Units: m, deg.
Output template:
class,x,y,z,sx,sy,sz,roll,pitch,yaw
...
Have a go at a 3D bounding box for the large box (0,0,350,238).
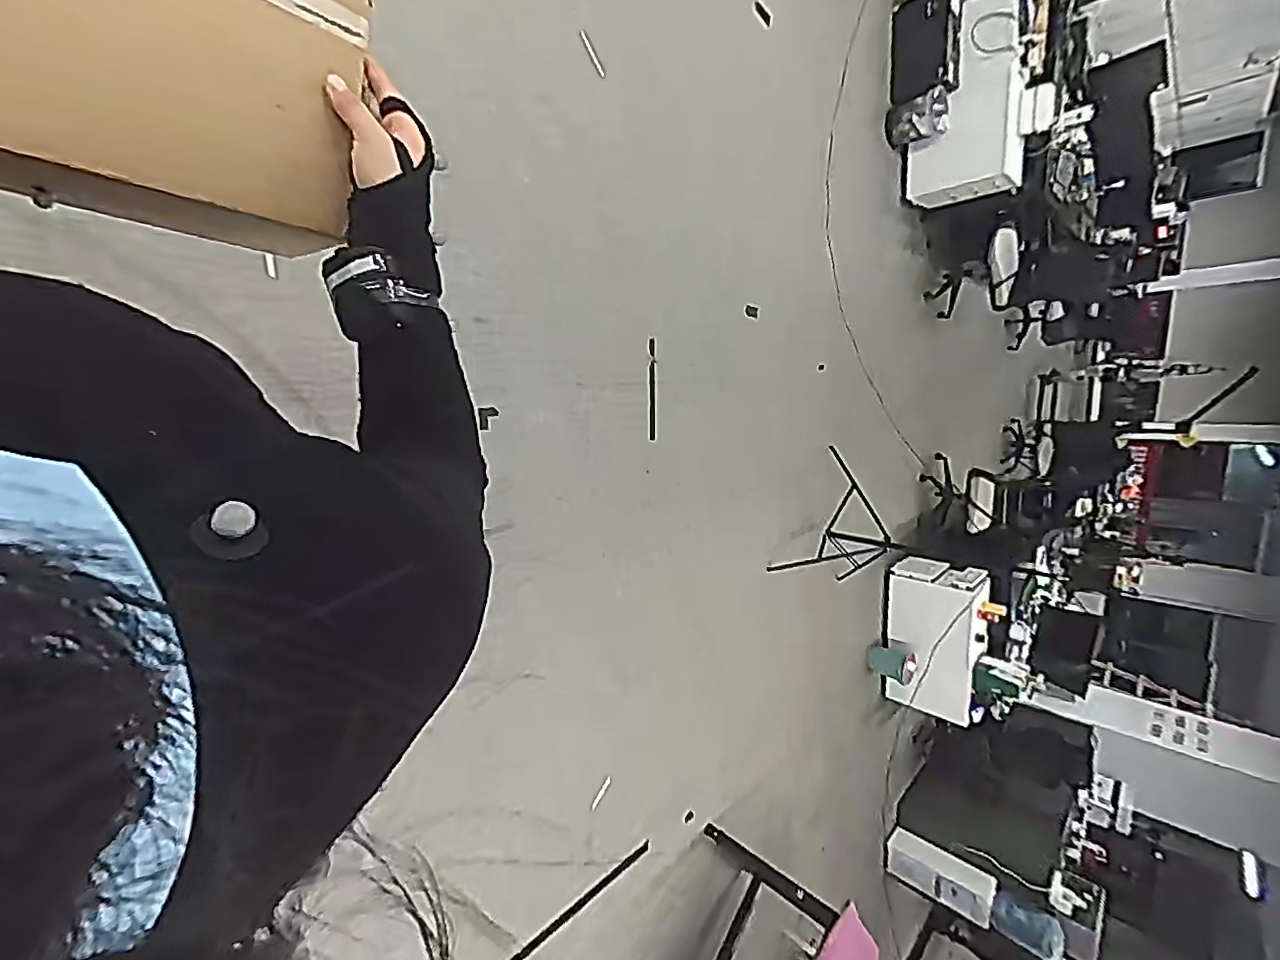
class,x,y,z,sx,sy,sz,roll,pitch,yaw
large box,-0.480,-0.405,0.421,0.408,0.320,0.320,-1,105,-41
